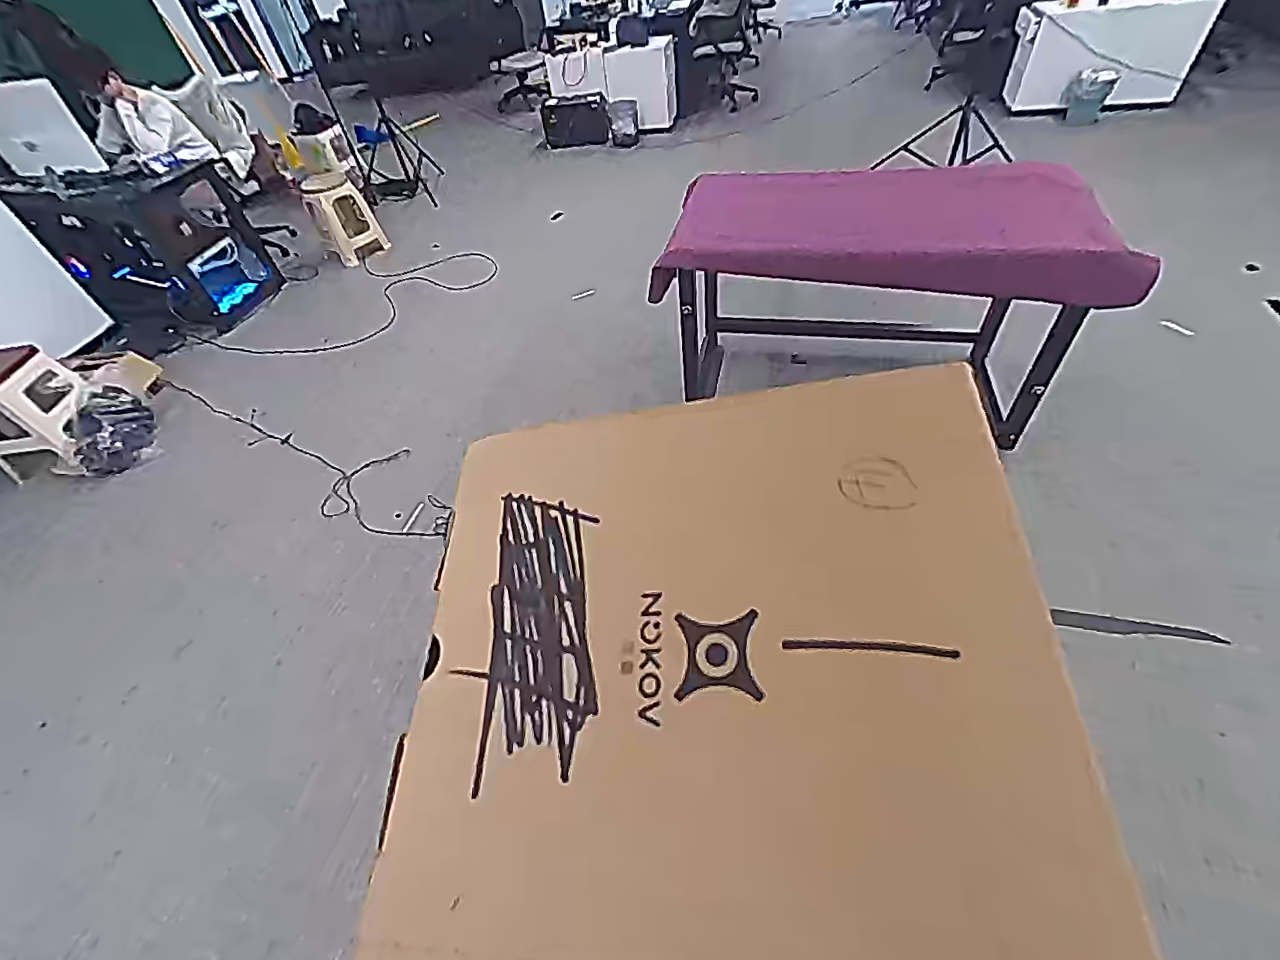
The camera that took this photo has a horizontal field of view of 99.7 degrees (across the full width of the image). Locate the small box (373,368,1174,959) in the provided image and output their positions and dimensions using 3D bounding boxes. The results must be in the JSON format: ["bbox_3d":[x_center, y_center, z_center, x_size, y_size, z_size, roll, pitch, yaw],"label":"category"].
[{"bbox_3d":[0.041,0.084,0.217,0.179,0.176,0.168,-7,61,16],"label":"small box"}]
